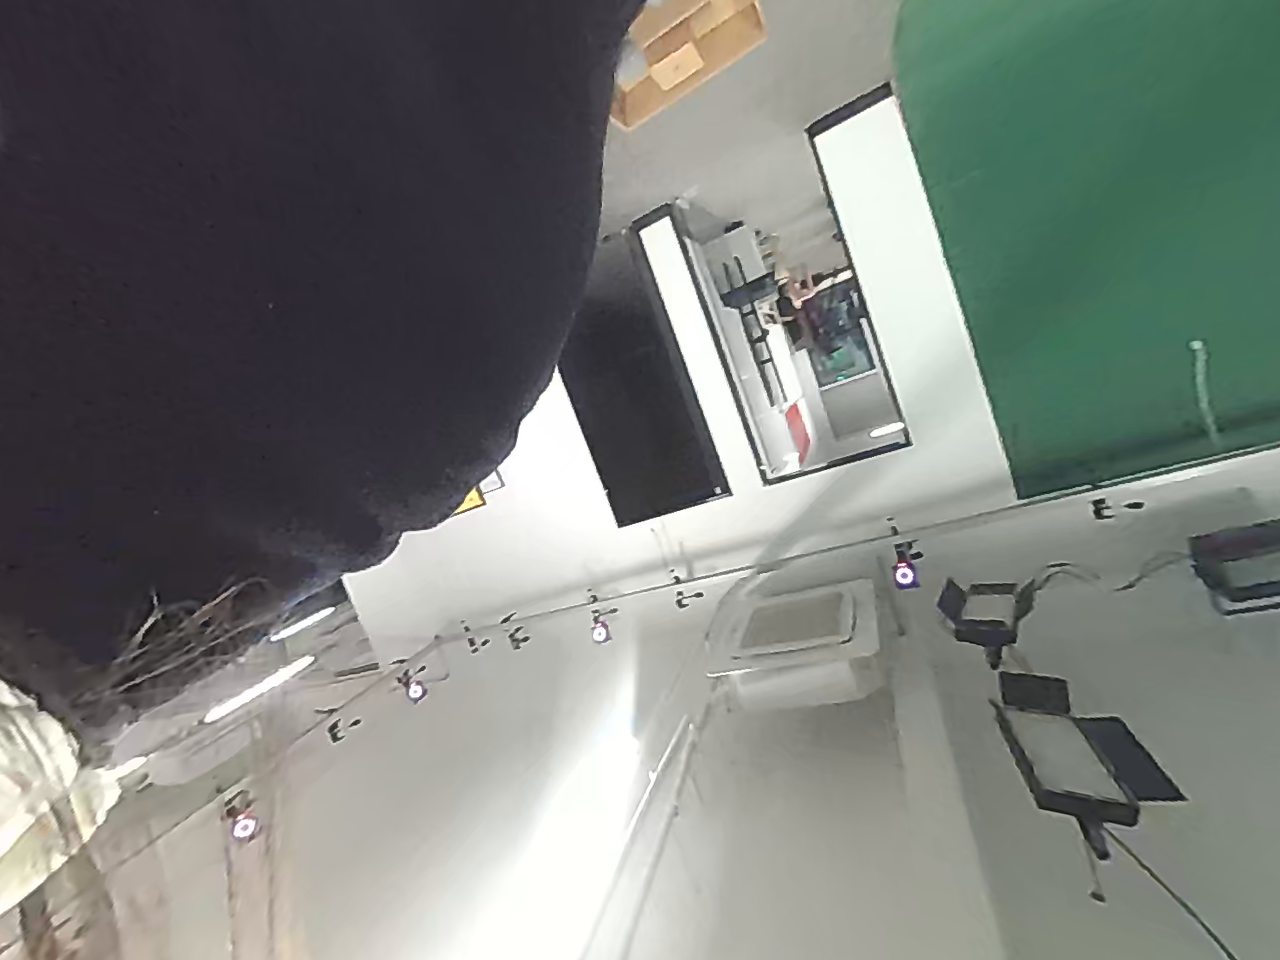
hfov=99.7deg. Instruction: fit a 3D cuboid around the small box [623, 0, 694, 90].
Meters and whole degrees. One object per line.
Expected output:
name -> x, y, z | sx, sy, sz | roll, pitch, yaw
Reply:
small box -> 0.064, -1.504, 1.859 | 0.168, 0.176, 0.179 | -18, -172, 25
